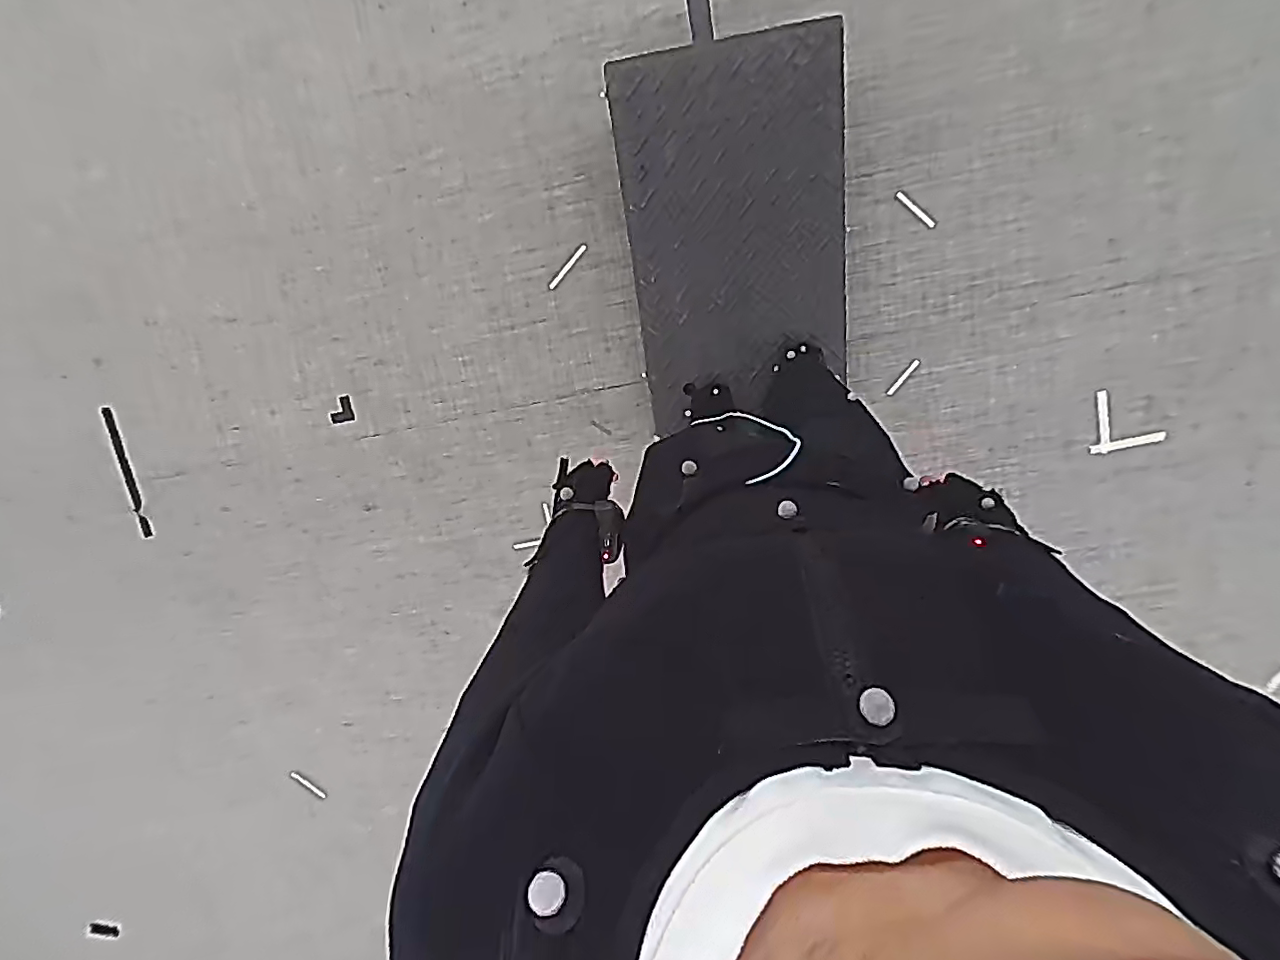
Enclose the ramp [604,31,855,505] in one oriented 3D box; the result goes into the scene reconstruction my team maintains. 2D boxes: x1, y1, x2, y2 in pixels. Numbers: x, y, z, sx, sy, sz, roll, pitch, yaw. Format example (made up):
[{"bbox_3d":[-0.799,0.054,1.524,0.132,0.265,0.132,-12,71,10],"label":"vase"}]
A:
[{"bbox_3d":[0.250,-0.425,1.303,0.509,0.206,0.991,-10,100,7],"label":"ramp"}]
